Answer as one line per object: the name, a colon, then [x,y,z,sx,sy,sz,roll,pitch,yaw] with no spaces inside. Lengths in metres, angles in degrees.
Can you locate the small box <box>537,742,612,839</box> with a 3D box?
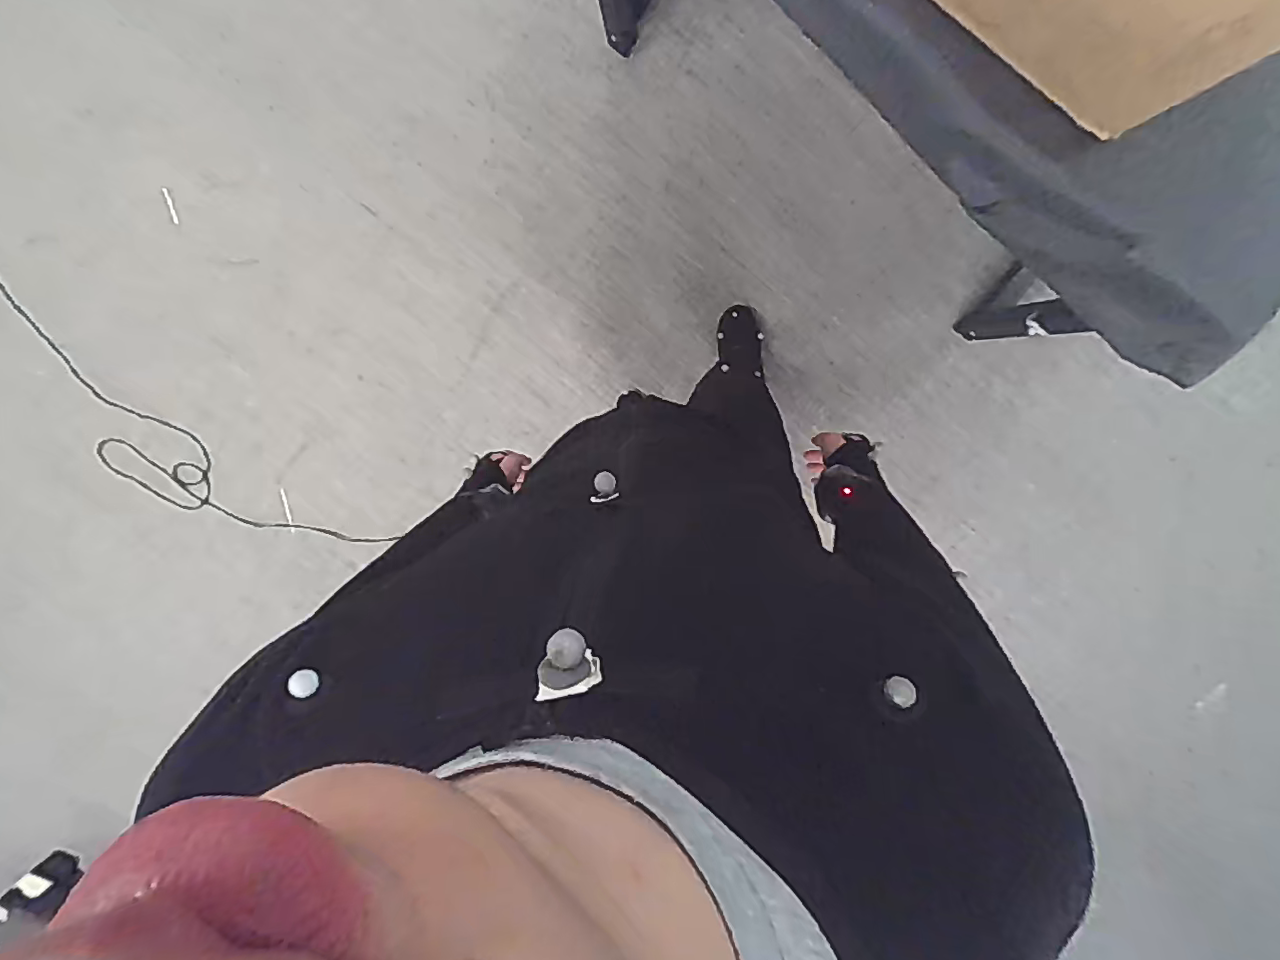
small box: [-0.204,0.998,1.746,0.168,0.176,0.179,37,102,-7]
